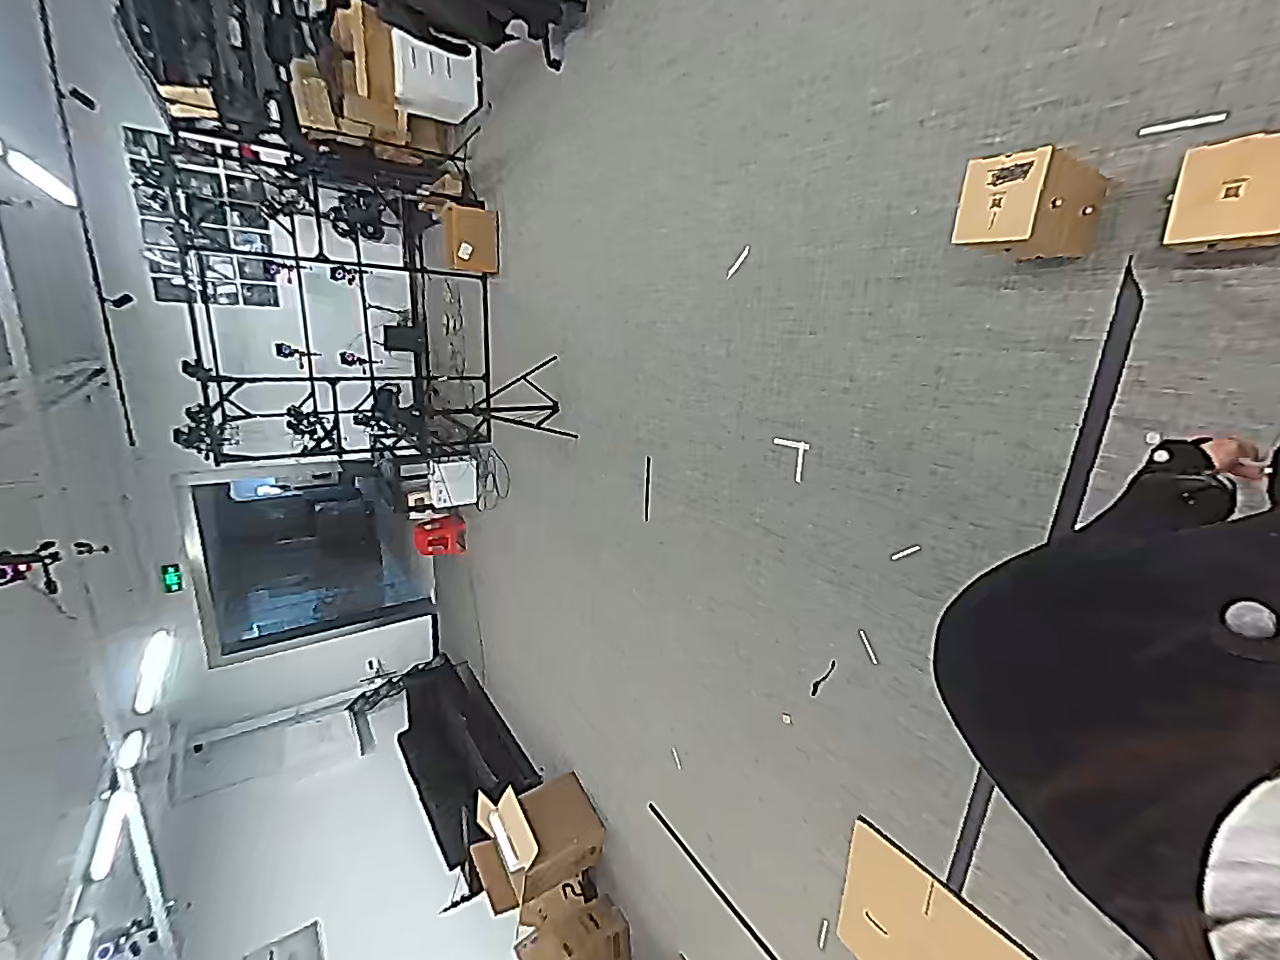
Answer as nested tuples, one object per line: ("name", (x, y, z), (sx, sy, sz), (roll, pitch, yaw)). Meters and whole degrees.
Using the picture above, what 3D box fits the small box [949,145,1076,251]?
("small box", (0.835, -0.620, 1.209), (0.168, 0.176, 0.179), (27, 119, 51))

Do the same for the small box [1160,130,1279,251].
("small box", (1.159, -0.548, 1.046), (0.168, 0.176, 0.179), (21, 113, 52))
